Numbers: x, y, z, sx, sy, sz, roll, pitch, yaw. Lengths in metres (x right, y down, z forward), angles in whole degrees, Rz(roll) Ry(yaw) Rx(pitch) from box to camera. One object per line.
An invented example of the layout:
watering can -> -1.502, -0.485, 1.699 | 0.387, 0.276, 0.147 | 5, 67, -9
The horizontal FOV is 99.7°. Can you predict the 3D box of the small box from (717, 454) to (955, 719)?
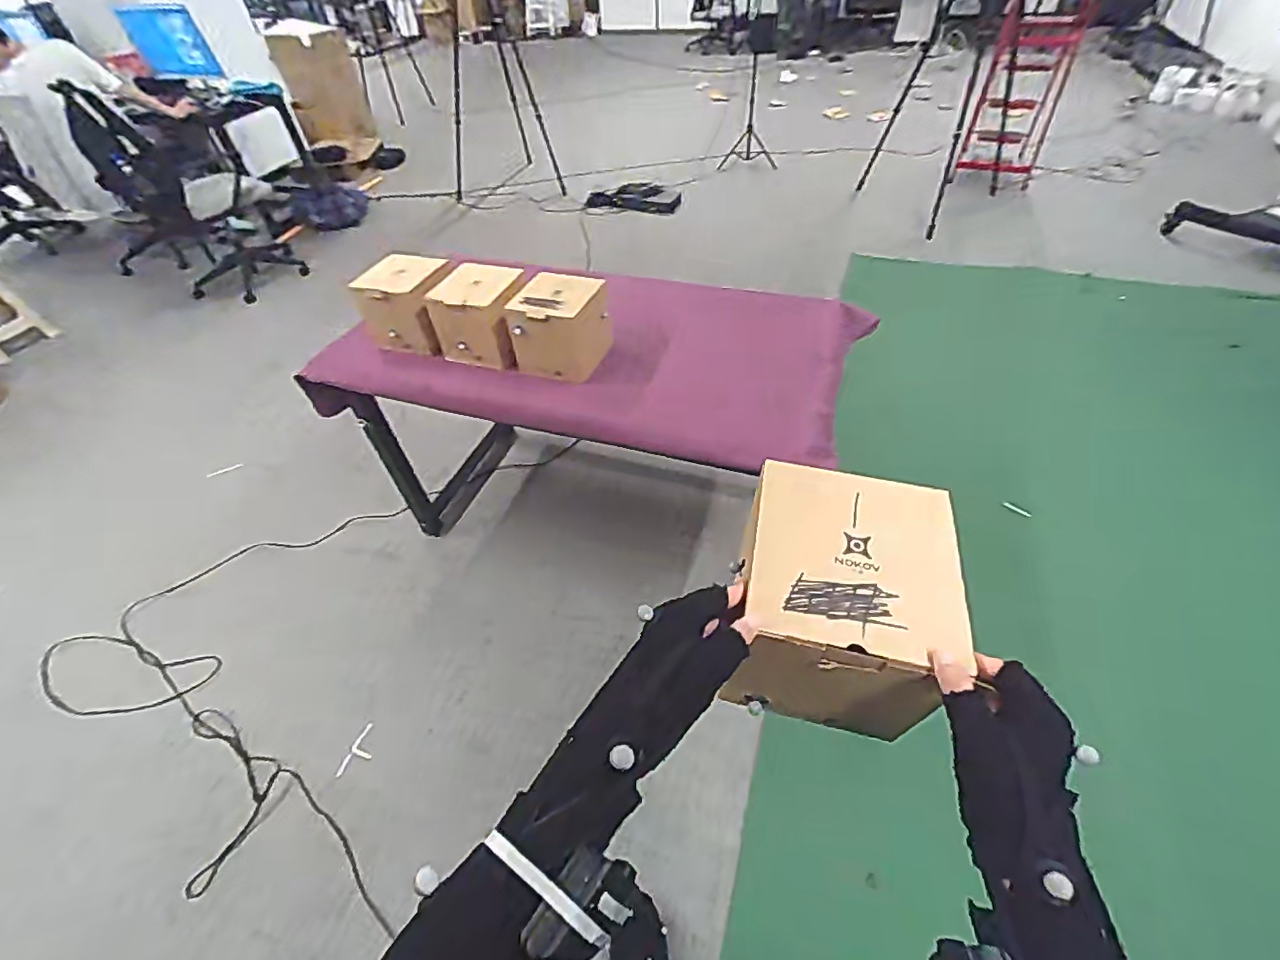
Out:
small box -> 0.169, 0.105, 0.513 | 0.168, 0.176, 0.179 | 10, 51, 9
